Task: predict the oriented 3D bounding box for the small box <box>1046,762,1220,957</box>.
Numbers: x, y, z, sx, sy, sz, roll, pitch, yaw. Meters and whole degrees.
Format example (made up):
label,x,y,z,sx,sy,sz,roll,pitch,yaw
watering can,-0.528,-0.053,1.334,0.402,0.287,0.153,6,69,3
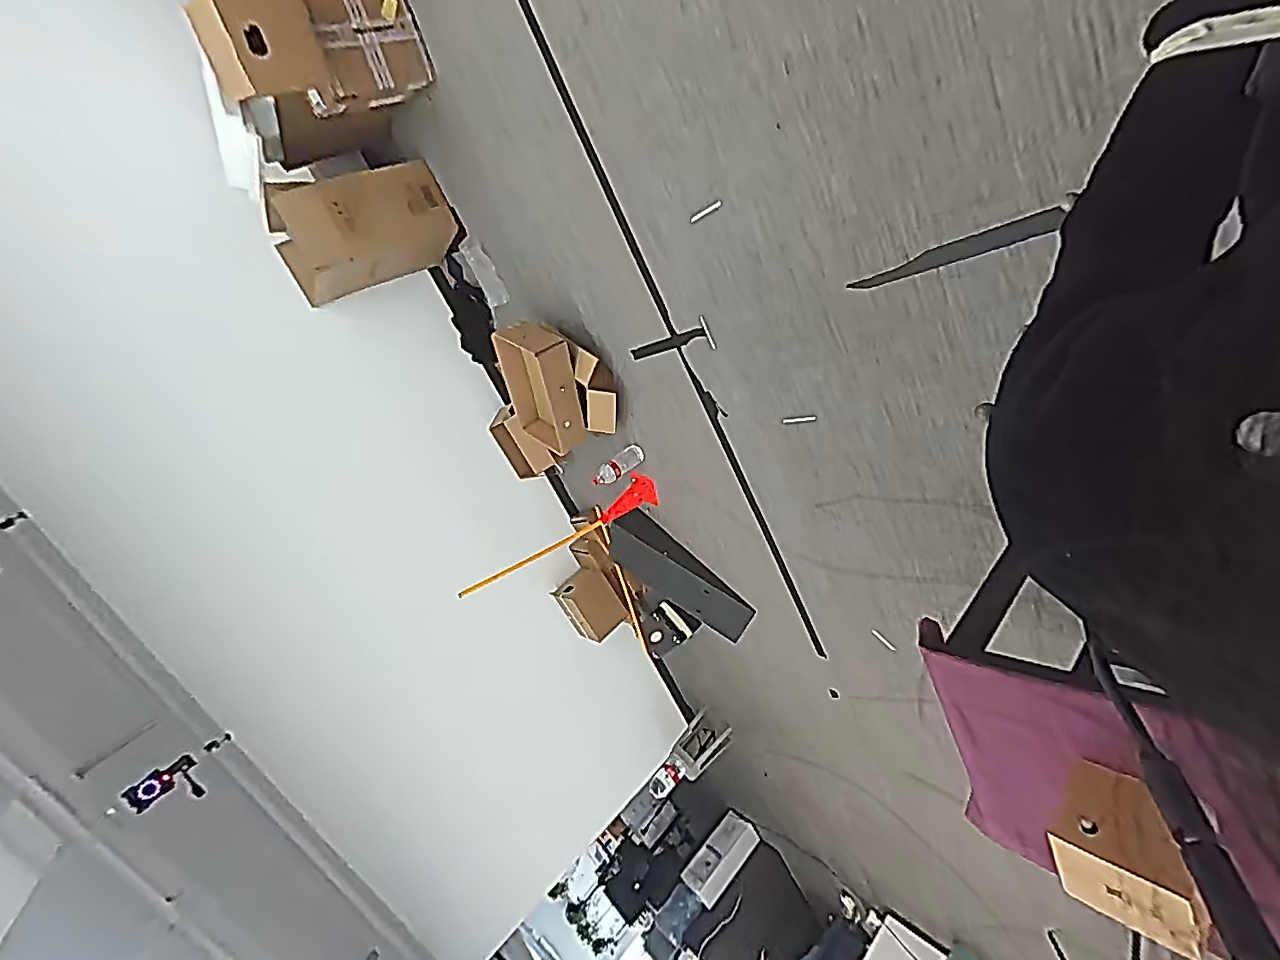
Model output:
label,x,y,z,sx,sy,sz,roll,pitch,yaw
small box,0.821,0.612,0.902,0.179,0.176,0.168,3,125,55
